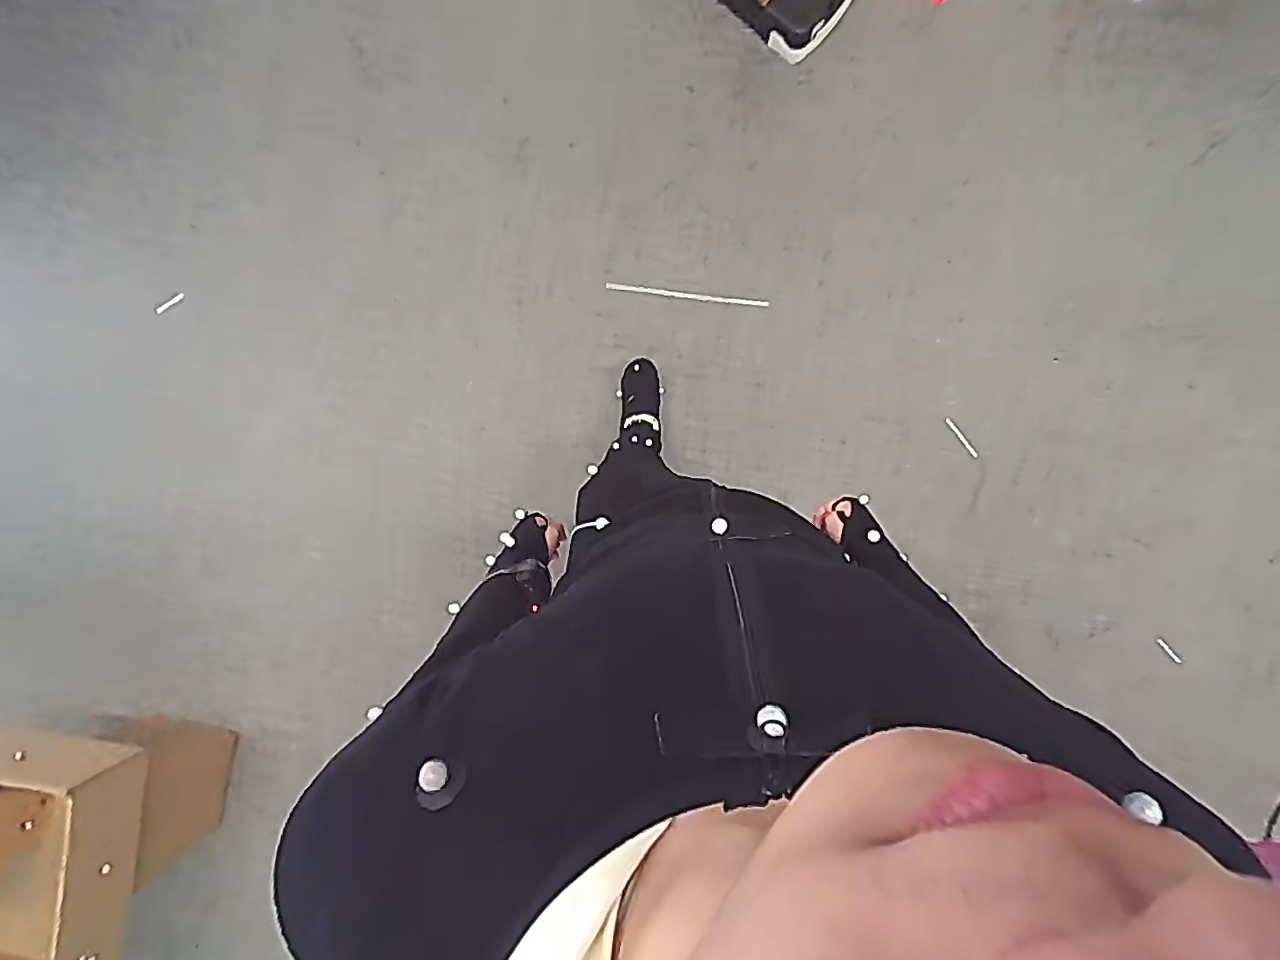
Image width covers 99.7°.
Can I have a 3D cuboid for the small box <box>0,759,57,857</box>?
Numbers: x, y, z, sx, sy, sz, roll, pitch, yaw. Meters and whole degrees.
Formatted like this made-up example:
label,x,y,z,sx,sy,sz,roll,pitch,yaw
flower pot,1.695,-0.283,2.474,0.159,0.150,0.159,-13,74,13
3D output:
label,x,y,z,sx,sy,sz,roll,pitch,yaw
small box,-1.462,0.738,1.184,0.179,0.176,0.168,10,91,0
